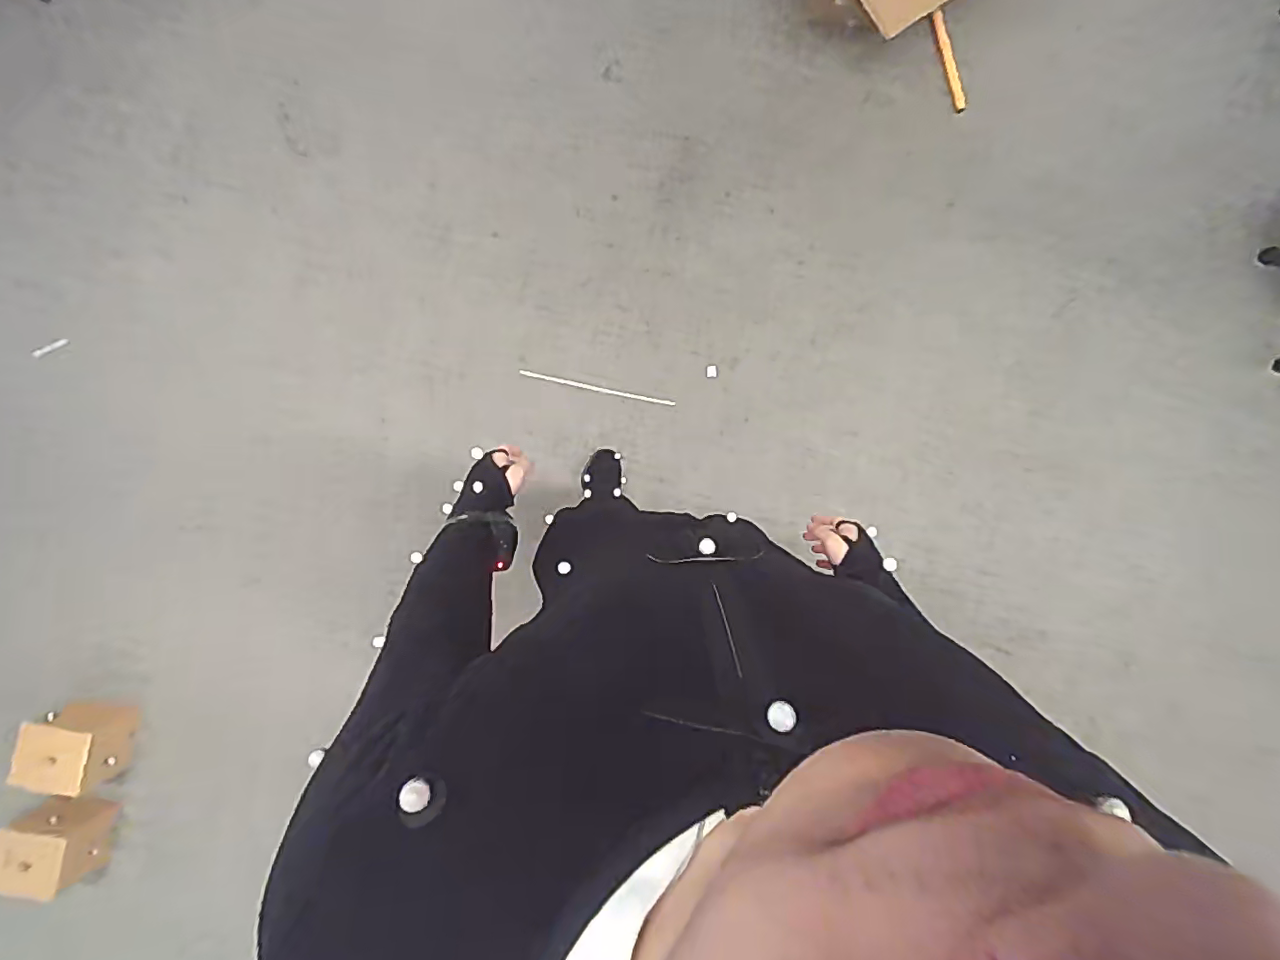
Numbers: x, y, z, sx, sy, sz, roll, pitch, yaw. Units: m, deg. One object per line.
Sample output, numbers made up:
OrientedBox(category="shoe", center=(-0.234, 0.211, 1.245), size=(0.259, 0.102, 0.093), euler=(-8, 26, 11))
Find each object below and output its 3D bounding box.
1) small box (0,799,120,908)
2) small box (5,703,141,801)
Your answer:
OrientedBox(category="small box", center=(-1.549, 0.980, 1.434), size=(0.179, 0.176, 0.168), euler=(12, 88, -3))
OrientedBox(category="small box", center=(-1.500, 0.717, 1.443), size=(0.179, 0.176, 0.168), euler=(12, 89, -3))
